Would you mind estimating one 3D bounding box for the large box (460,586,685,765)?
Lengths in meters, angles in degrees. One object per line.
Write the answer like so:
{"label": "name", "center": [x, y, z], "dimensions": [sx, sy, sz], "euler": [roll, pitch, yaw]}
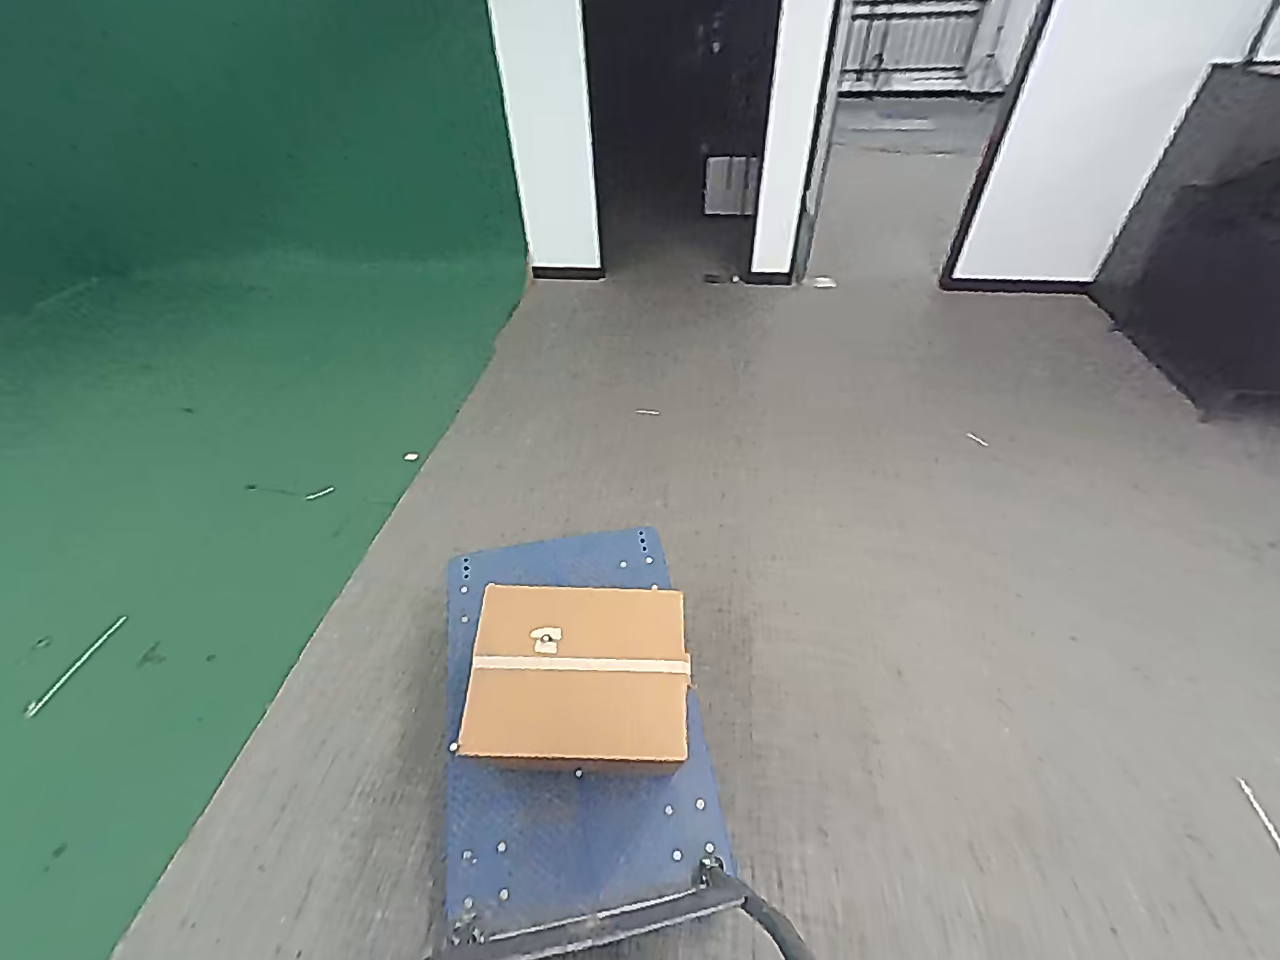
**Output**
{"label": "large box", "center": [-0.116, 0.427, 1.152], "dimensions": [0.408, 0.320, 0.320], "euler": [2, 58, 0]}
